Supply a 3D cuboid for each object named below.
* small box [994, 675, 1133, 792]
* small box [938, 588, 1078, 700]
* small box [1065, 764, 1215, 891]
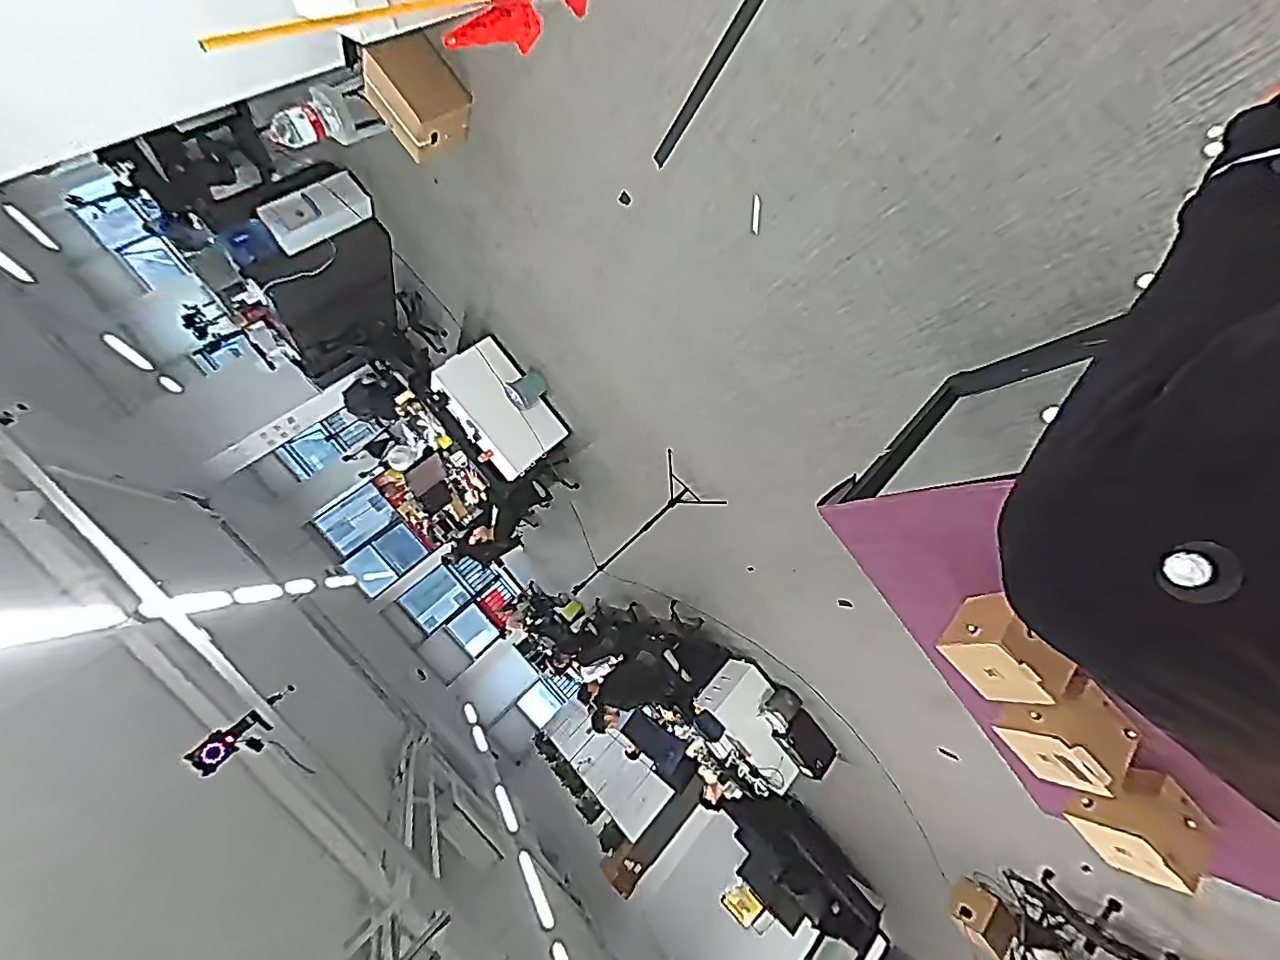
[{"bbox_3d":[0.969,0.562,1.232,0.168,0.176,0.179,48,158,2],"label":"small box"},{"bbox_3d":[0.813,0.355,1.188,0.168,0.176,0.179,47,158,4],"label":"small box"},{"bbox_3d":[1.150,0.778,1.247,0.168,0.176,0.179,48,157,0],"label":"small box"}]
